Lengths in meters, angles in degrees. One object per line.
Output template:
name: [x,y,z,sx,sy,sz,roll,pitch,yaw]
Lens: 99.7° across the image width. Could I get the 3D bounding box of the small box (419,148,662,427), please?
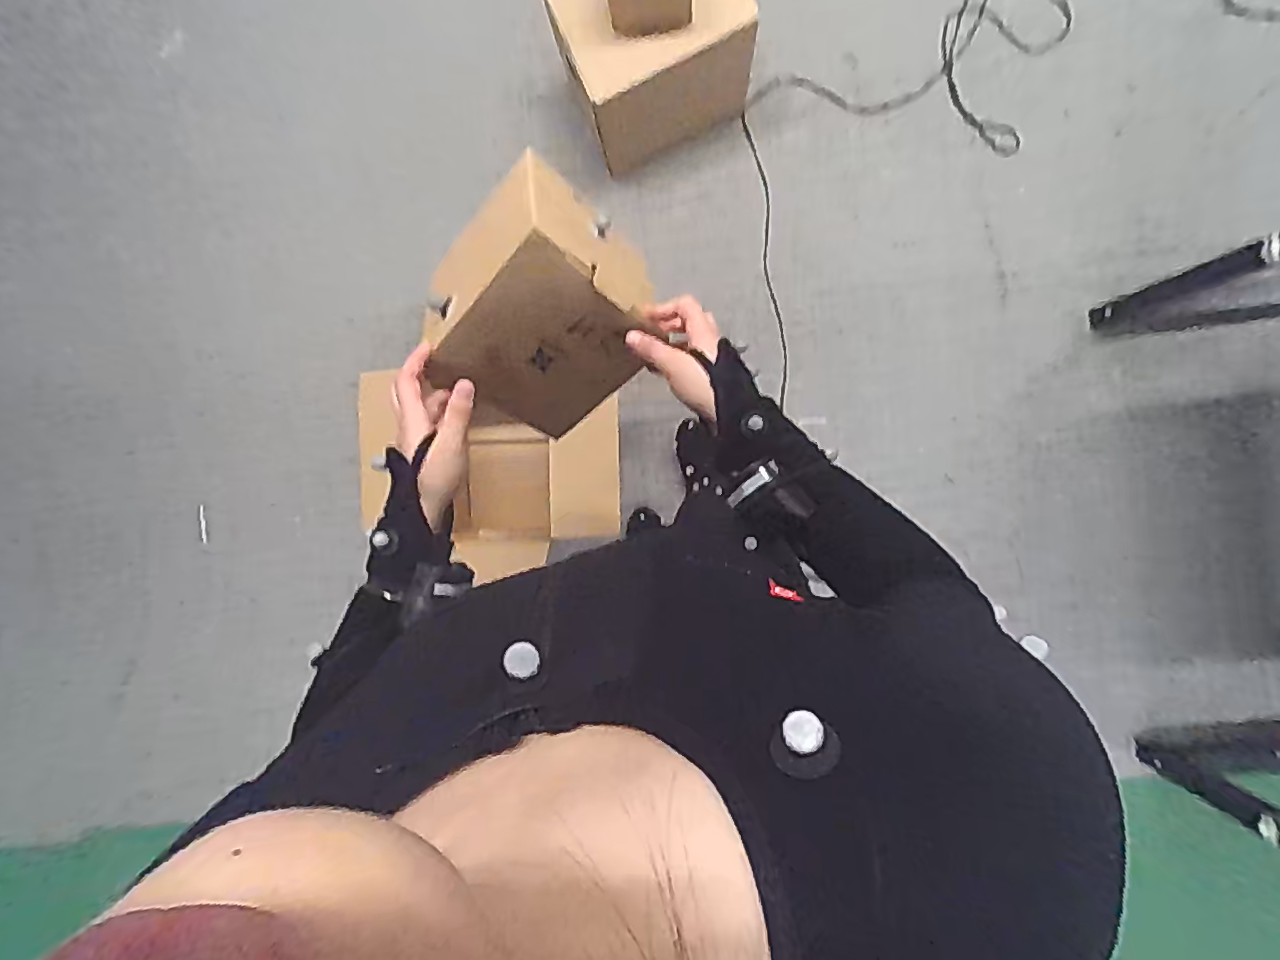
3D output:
small box: [-0.103,-0.194,0.565,0.179,0.168,0.176,-37,45,27]
